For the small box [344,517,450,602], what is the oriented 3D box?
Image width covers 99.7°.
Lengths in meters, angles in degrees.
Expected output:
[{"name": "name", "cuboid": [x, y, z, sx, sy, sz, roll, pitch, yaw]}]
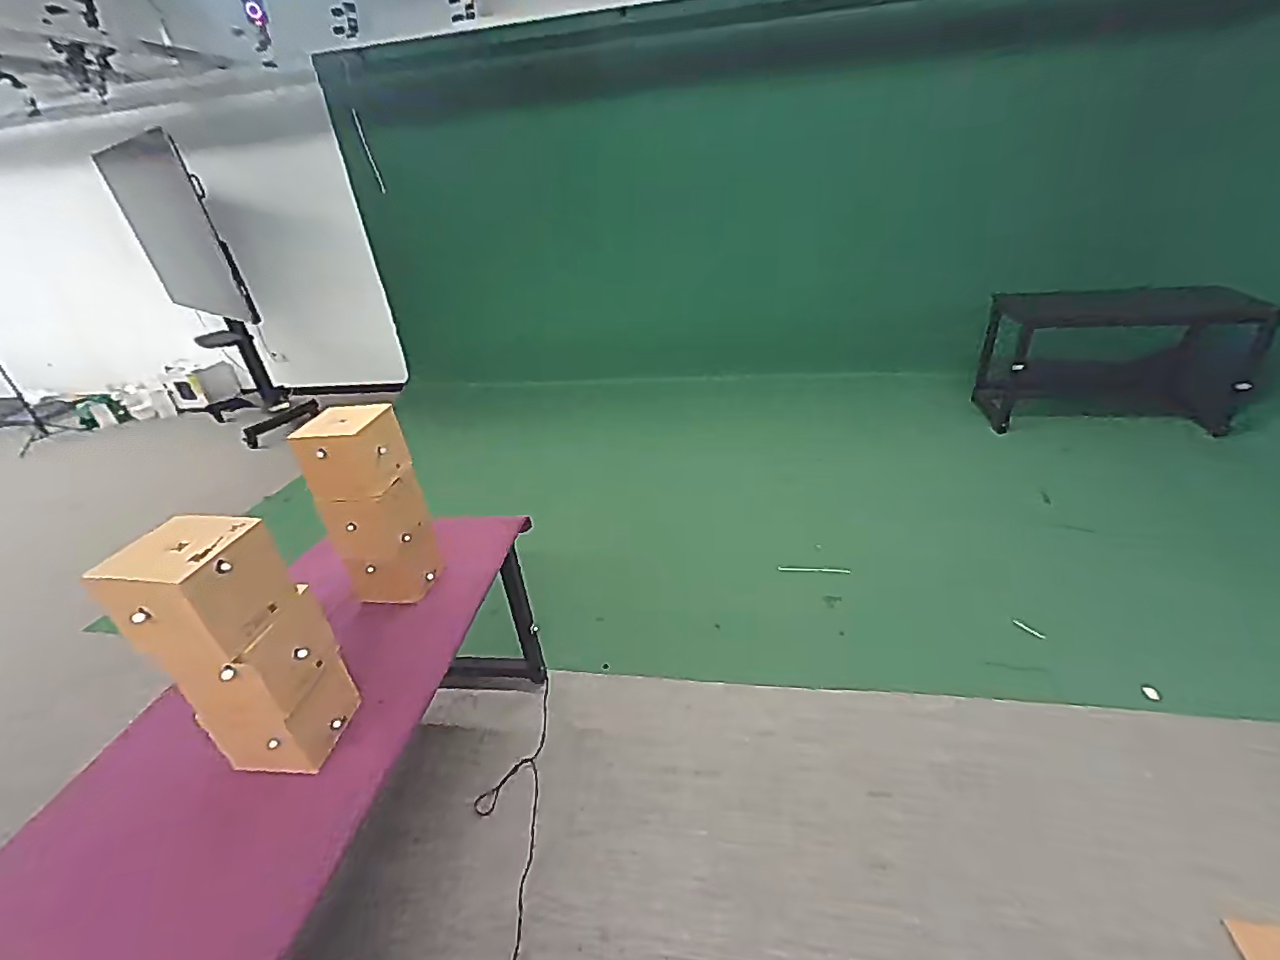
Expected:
[{"name": "small box", "cuboid": [-0.648, 0.213, 1.463, 0.179, 0.176, 0.168, 0, 32, 11]}]

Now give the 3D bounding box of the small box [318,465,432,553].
[{"name": "small box", "cuboid": [-0.662, 0.075, 1.378, 0.179, 0.176, 0.168, -2, 32, 12]}]

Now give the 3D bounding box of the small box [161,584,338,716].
[{"name": "small box", "cuboid": [-0.694, 0.307, 0.986, 0.179, 0.176, 0.168, -1, 30, 8]}]

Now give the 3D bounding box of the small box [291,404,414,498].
[{"name": "small box", "cuboid": [-0.679, -0.069, 1.304, 0.179, 0.176, 0.168, -3, 32, 10]}]

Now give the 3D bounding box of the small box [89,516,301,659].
[{"name": "small box", "cuboid": [-0.714, 0.174, 0.890, 0.179, 0.176, 0.168, 0, 31, 10]}]
